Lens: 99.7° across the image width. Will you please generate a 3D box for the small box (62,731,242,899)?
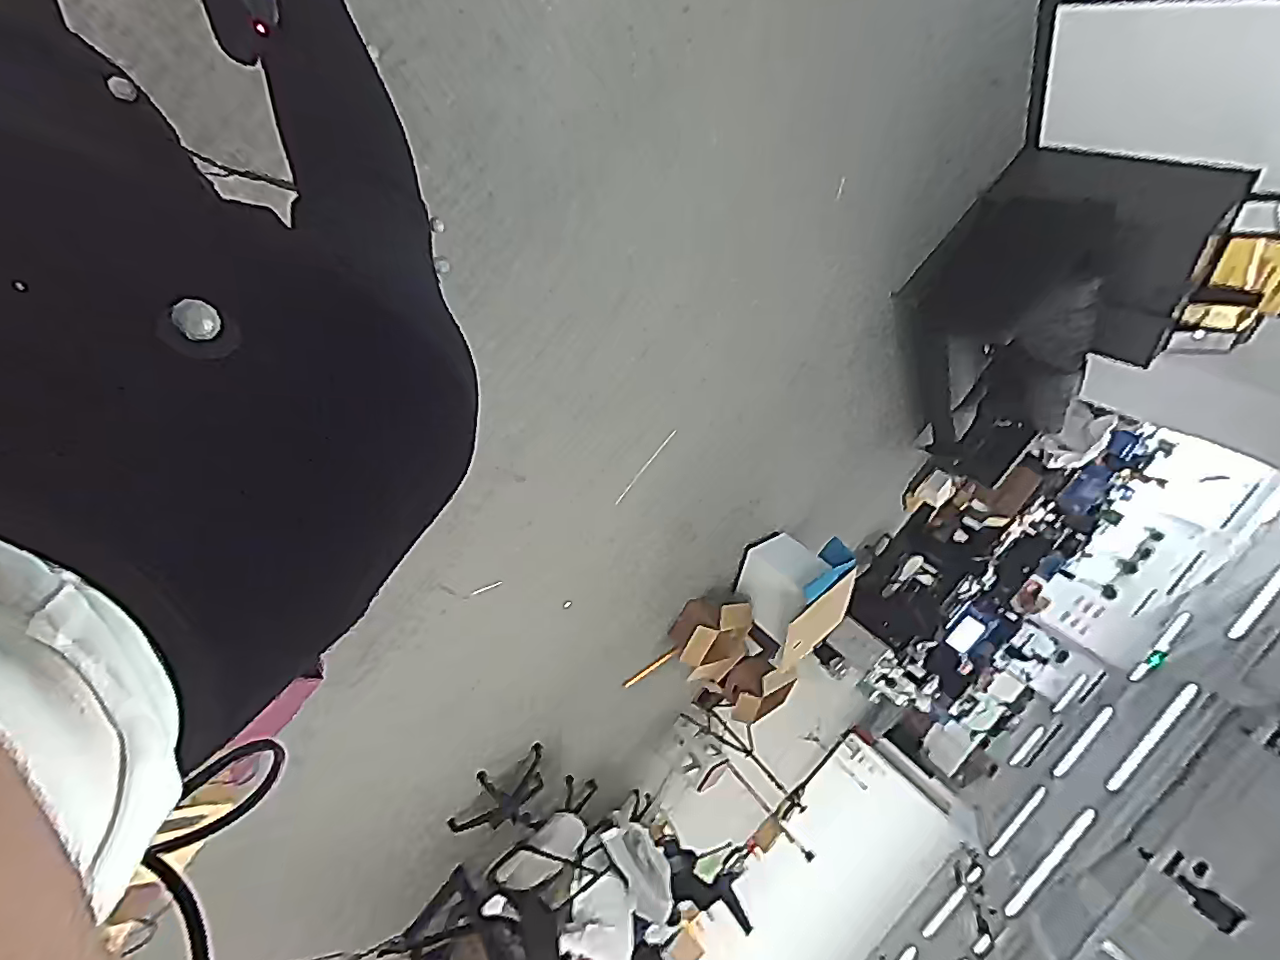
[{"bbox_3d":[-0.832,0.555,0.926,0.179,0.176,0.168,-51,142,2],"label":"small box"}]
